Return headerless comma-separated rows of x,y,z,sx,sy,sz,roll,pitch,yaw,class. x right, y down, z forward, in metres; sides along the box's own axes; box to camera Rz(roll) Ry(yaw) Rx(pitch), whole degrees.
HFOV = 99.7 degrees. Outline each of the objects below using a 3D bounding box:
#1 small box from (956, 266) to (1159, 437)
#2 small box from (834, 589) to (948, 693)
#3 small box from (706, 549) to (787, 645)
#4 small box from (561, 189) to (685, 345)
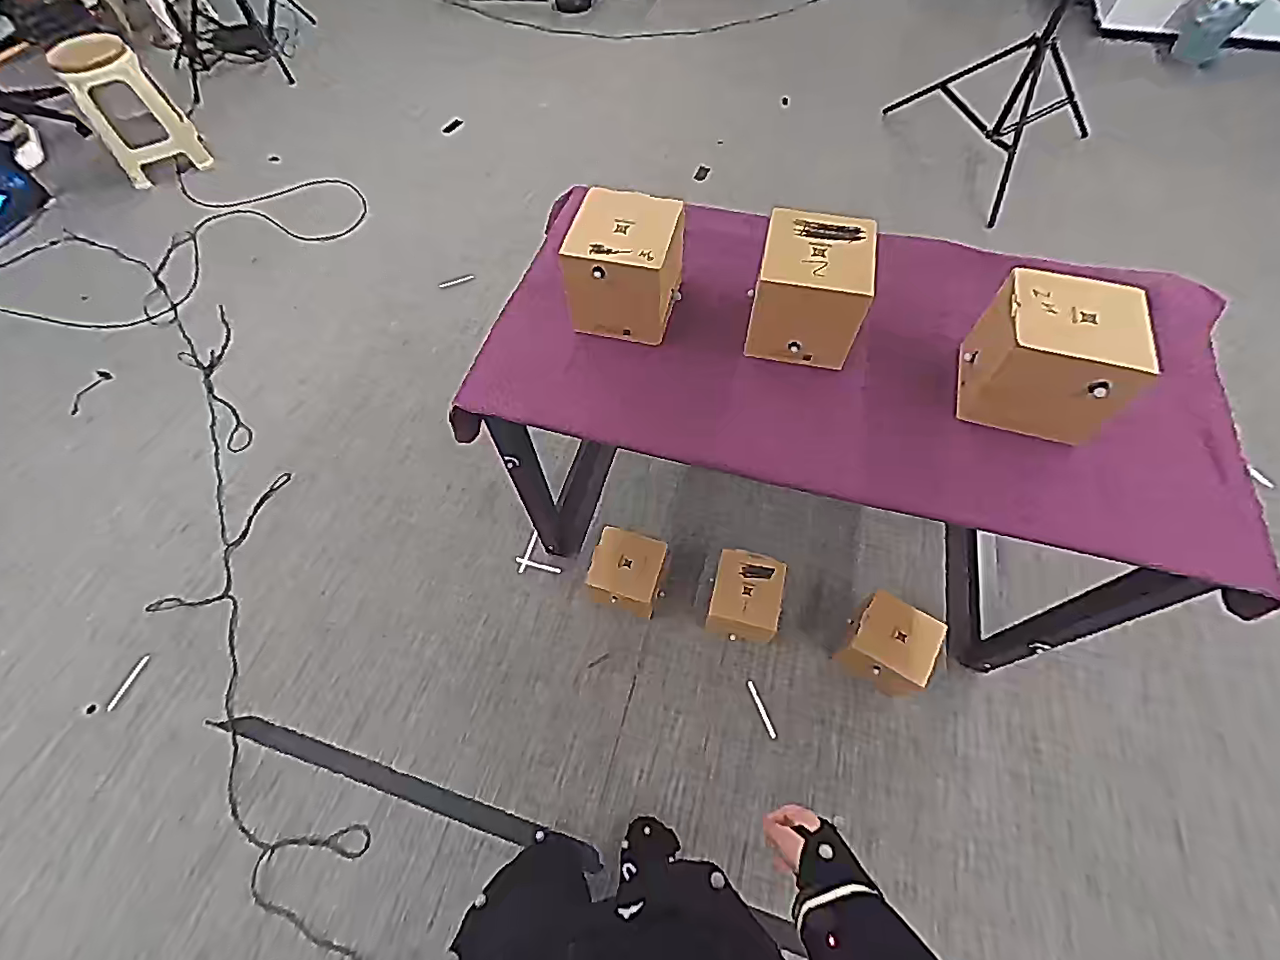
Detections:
0.608,-0.185,0.810,0.179,0.176,0.168,15,61,11,small box
0.605,0.398,1.319,0.179,0.176,0.168,28,66,18,small box
0.267,0.303,1.383,0.168,0.176,0.179,12,62,9,small box
-0.024,-0.364,0.935,0.168,0.176,0.179,12,61,8,small box
